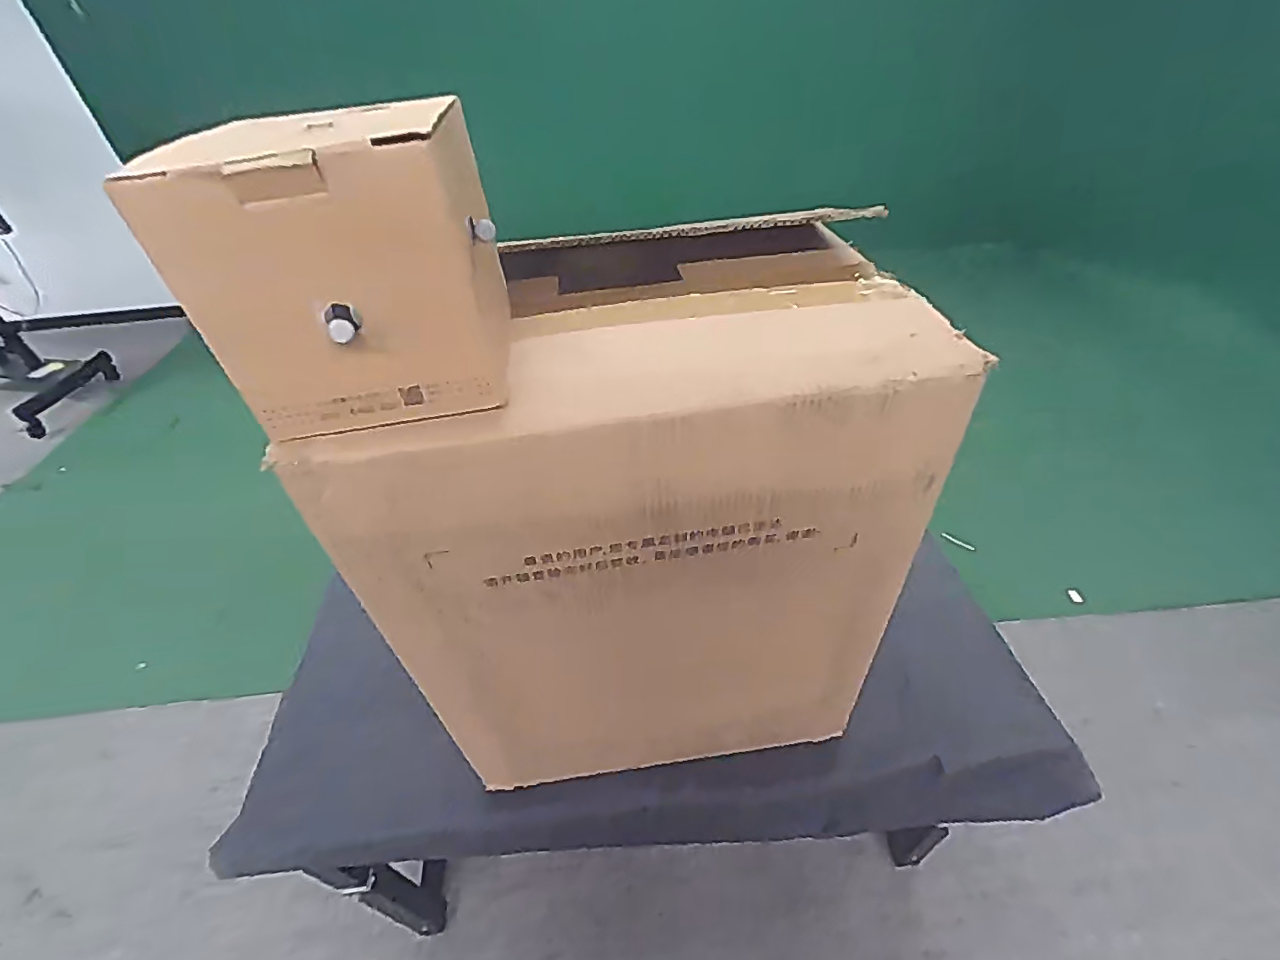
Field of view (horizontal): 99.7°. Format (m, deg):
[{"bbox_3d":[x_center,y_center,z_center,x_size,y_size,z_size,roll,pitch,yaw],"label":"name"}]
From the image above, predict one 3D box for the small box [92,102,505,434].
[{"bbox_3d":[-0.200,-0.147,0.389,0.168,0.176,0.179,-10,43,-3],"label":"small box"}]
